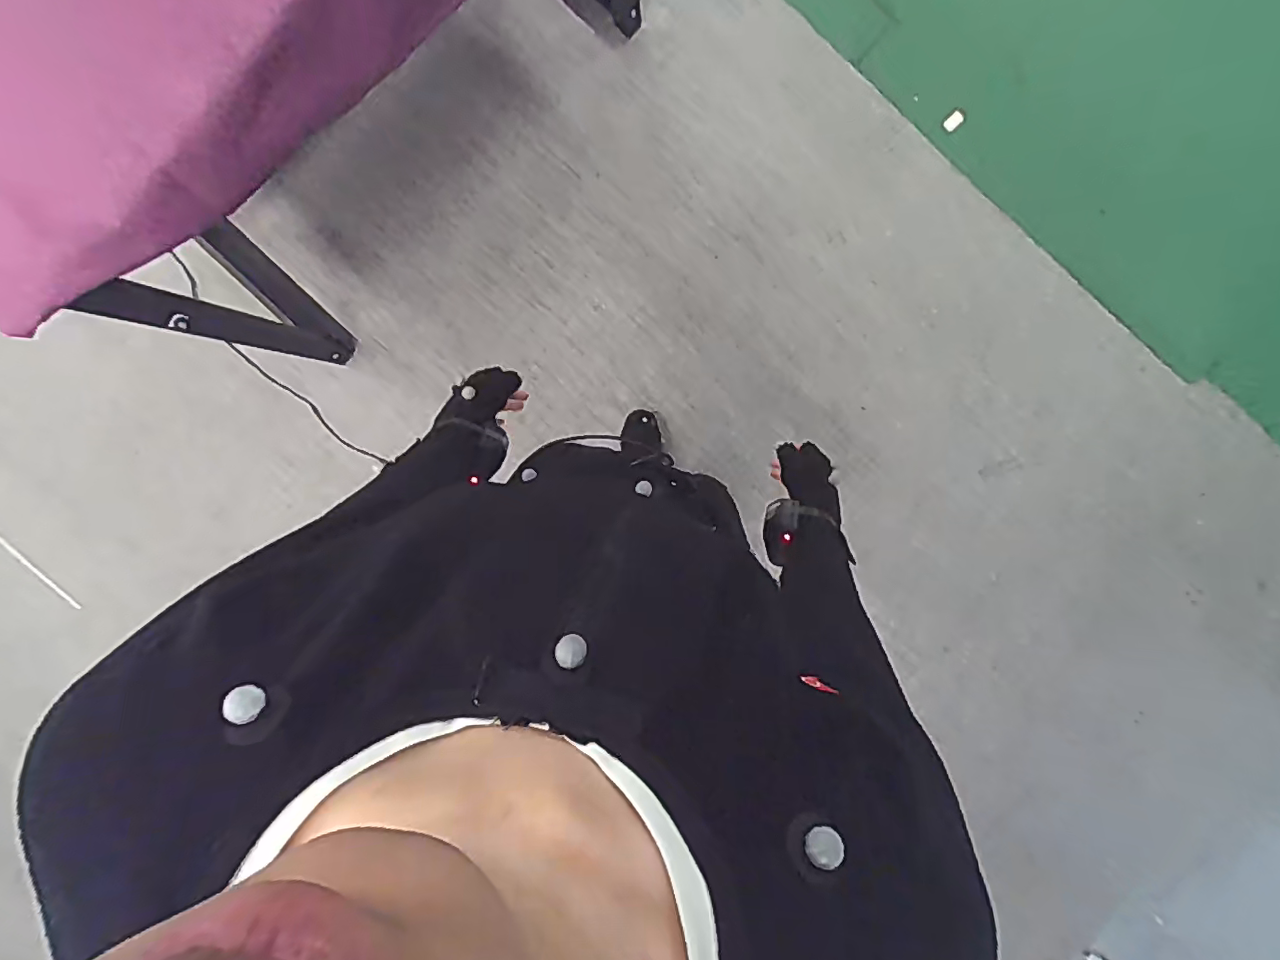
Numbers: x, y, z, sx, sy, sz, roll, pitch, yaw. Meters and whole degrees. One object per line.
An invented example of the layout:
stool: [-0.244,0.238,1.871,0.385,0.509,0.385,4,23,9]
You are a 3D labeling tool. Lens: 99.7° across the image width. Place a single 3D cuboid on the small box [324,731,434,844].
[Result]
small box: [-0.709,0.838,1.492,0.179,0.176,0.168,42,95,-1]
